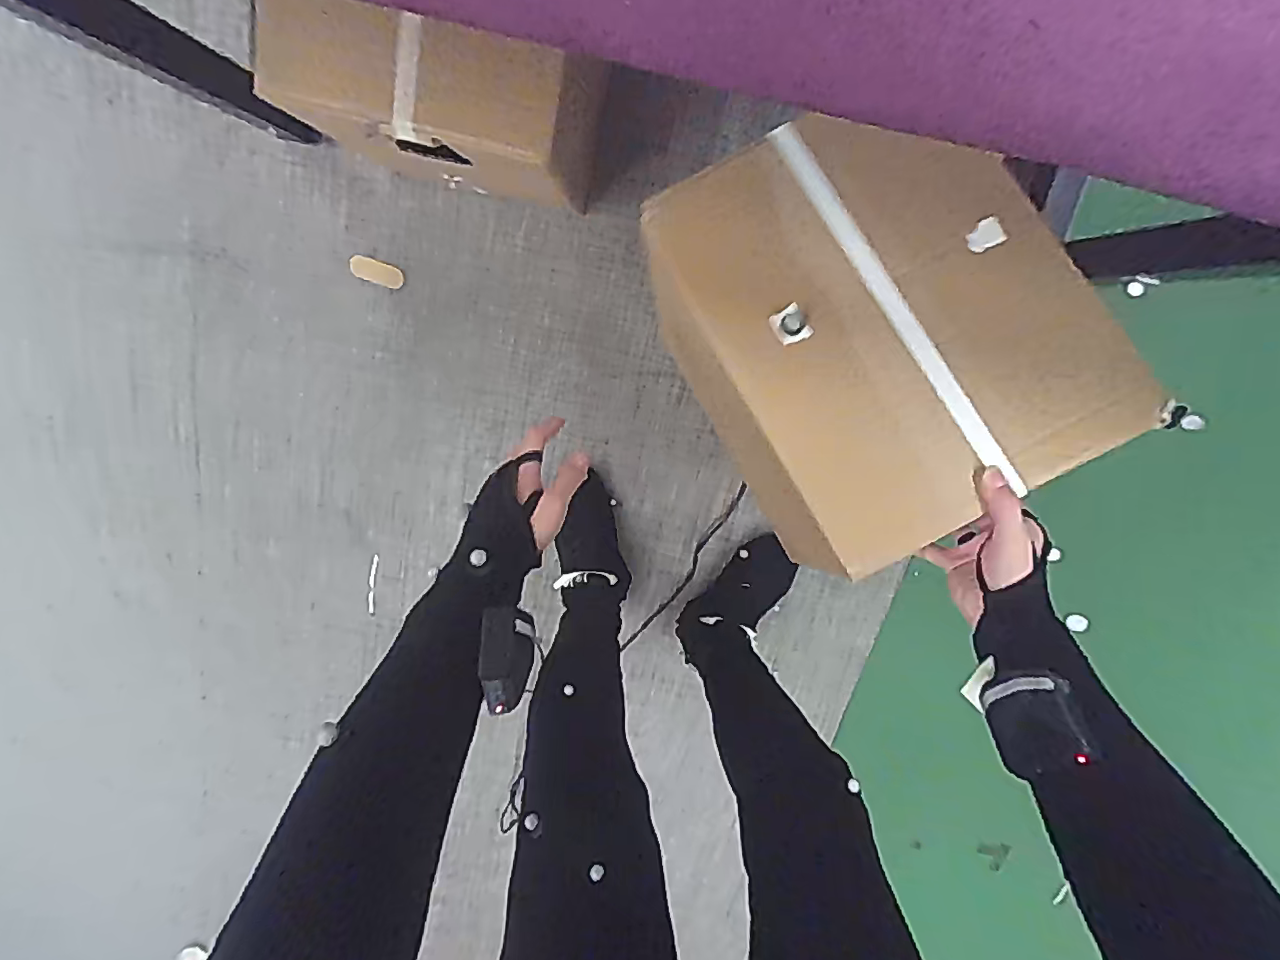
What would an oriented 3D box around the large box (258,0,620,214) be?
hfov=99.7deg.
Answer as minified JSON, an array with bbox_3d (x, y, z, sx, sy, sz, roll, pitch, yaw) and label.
[{"bbox_3d":[-0.200,-0.589,0.650,0.320,0.320,0.408,12,106,-3],"label":"large box"}]
